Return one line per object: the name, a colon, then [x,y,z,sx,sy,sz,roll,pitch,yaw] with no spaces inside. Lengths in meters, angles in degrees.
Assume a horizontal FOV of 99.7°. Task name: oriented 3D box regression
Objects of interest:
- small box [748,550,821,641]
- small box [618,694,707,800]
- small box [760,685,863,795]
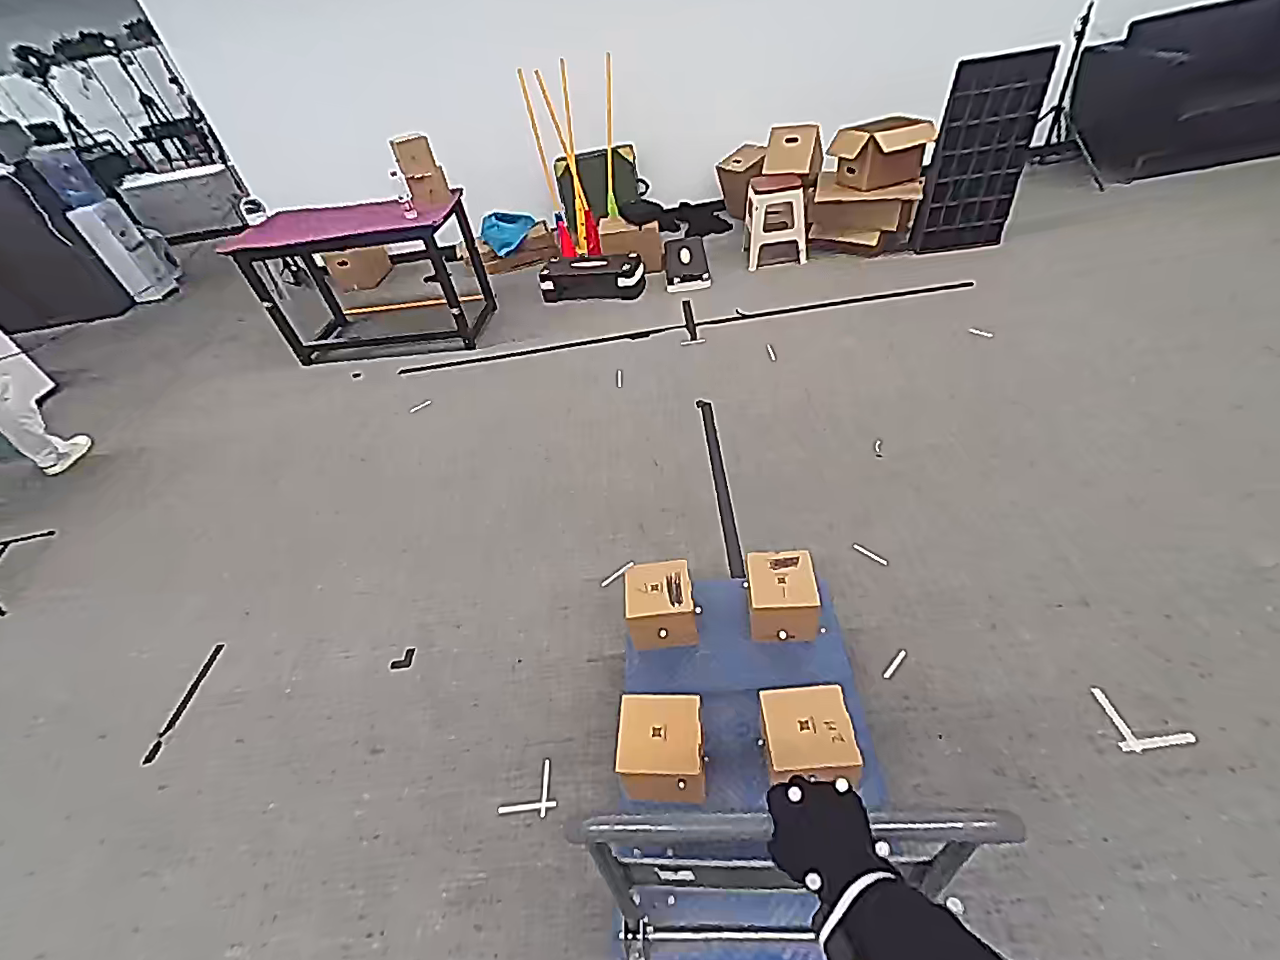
small box: [0.378,0.309,1.442,0.168,0.176,0.179,-4,44,8]
small box: [0.055,0.594,1.200,0.179,0.176,0.168,-2,42,7]
small box: [0.362,0.565,1.169,0.179,0.176,0.168,-6,43,5]
